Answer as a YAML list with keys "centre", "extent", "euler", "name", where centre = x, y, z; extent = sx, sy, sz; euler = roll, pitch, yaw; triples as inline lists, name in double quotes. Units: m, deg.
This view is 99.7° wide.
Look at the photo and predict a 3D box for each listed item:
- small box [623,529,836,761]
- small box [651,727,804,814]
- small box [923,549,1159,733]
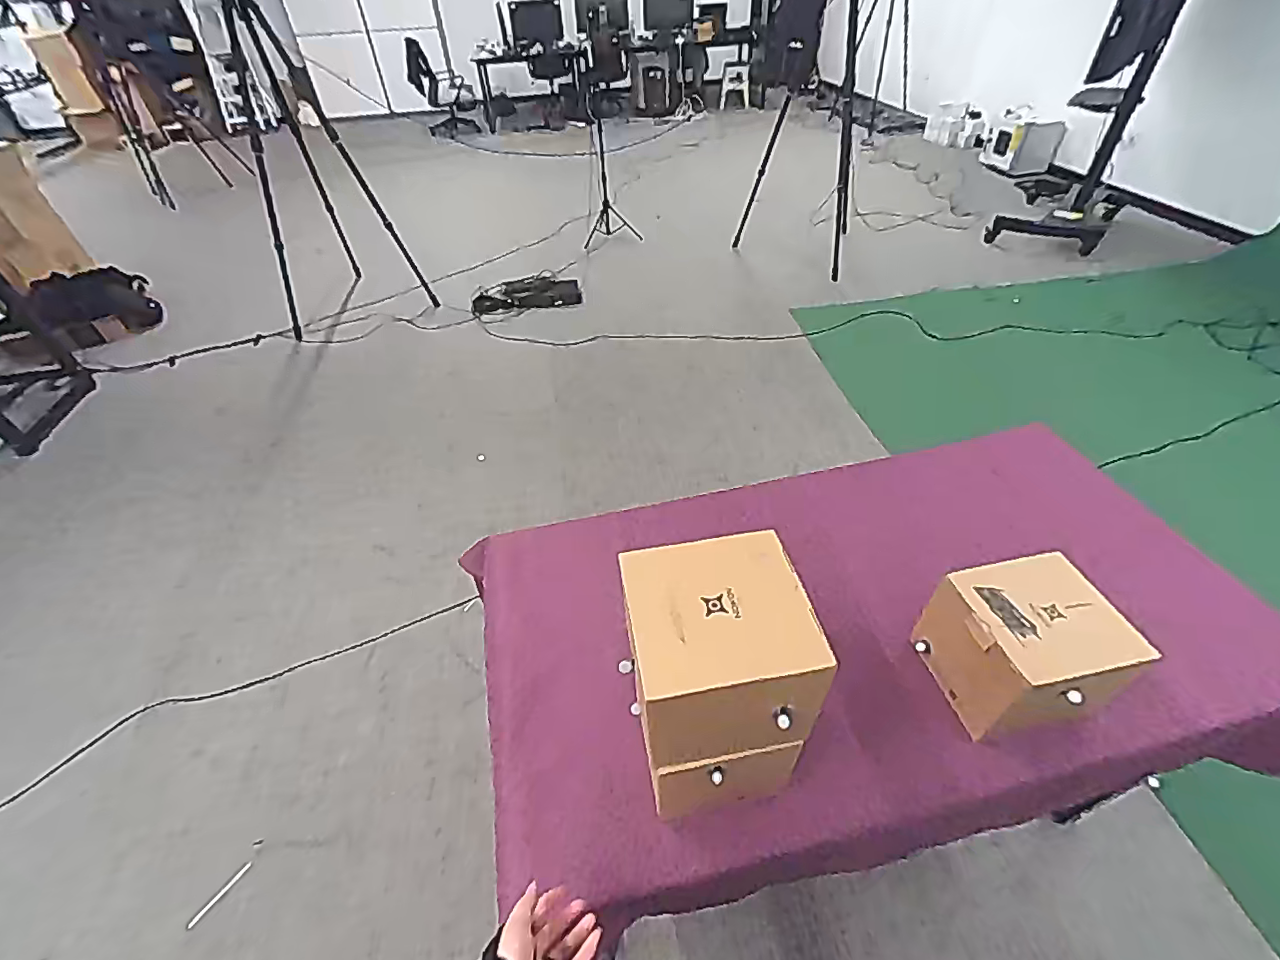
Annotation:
- centre: [0.081, 0.178, 0.582]
  extent: [0.179, 0.176, 0.168]
  euler: [-9, 44, -4]
  name: "small box"
- centre: [0.090, 0.295, 0.696]
  extent: [0.168, 0.176, 0.179]
  euler: [-10, 44, -5]
  name: "small box"
- centre: [0.518, 0.222, 0.738]
  extent: [0.179, 0.176, 0.168]
  euler: [-10, 44, -6]
  name: "small box"
